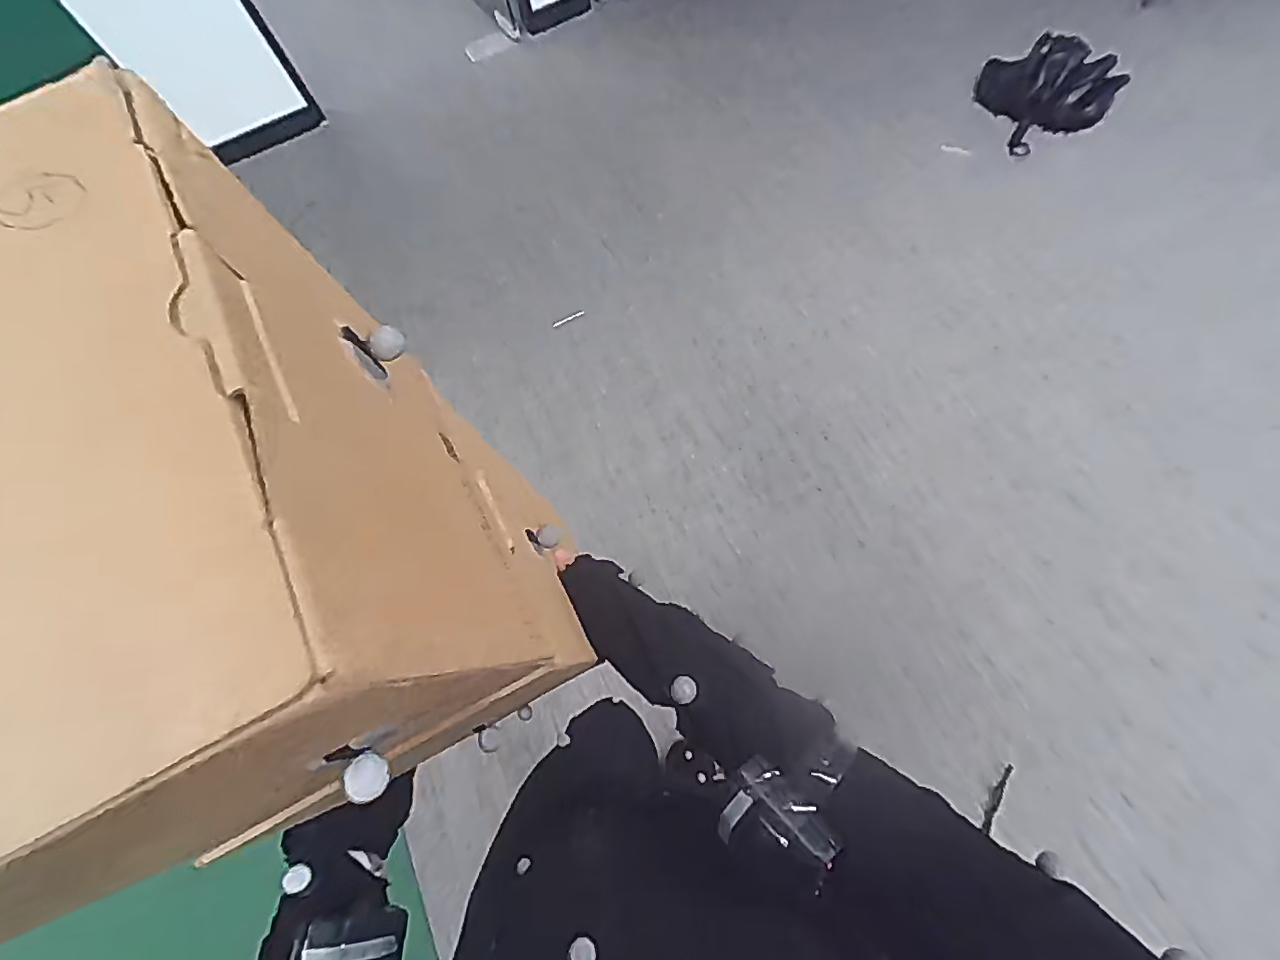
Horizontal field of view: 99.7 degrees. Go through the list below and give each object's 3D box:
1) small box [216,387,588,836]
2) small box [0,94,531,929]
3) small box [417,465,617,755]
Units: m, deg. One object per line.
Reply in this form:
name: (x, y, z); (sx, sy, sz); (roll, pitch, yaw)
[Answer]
small box: (-0.145, 0.076, 0.346); (0.179, 0.176, 0.168); (-28, 72, -5)
small box: (-0.155, 0.026, 0.193); (0.179, 0.176, 0.168); (-30, 73, -3)
small box: (-0.133, 0.117, 0.505); (0.179, 0.176, 0.168); (-33, 74, -7)
